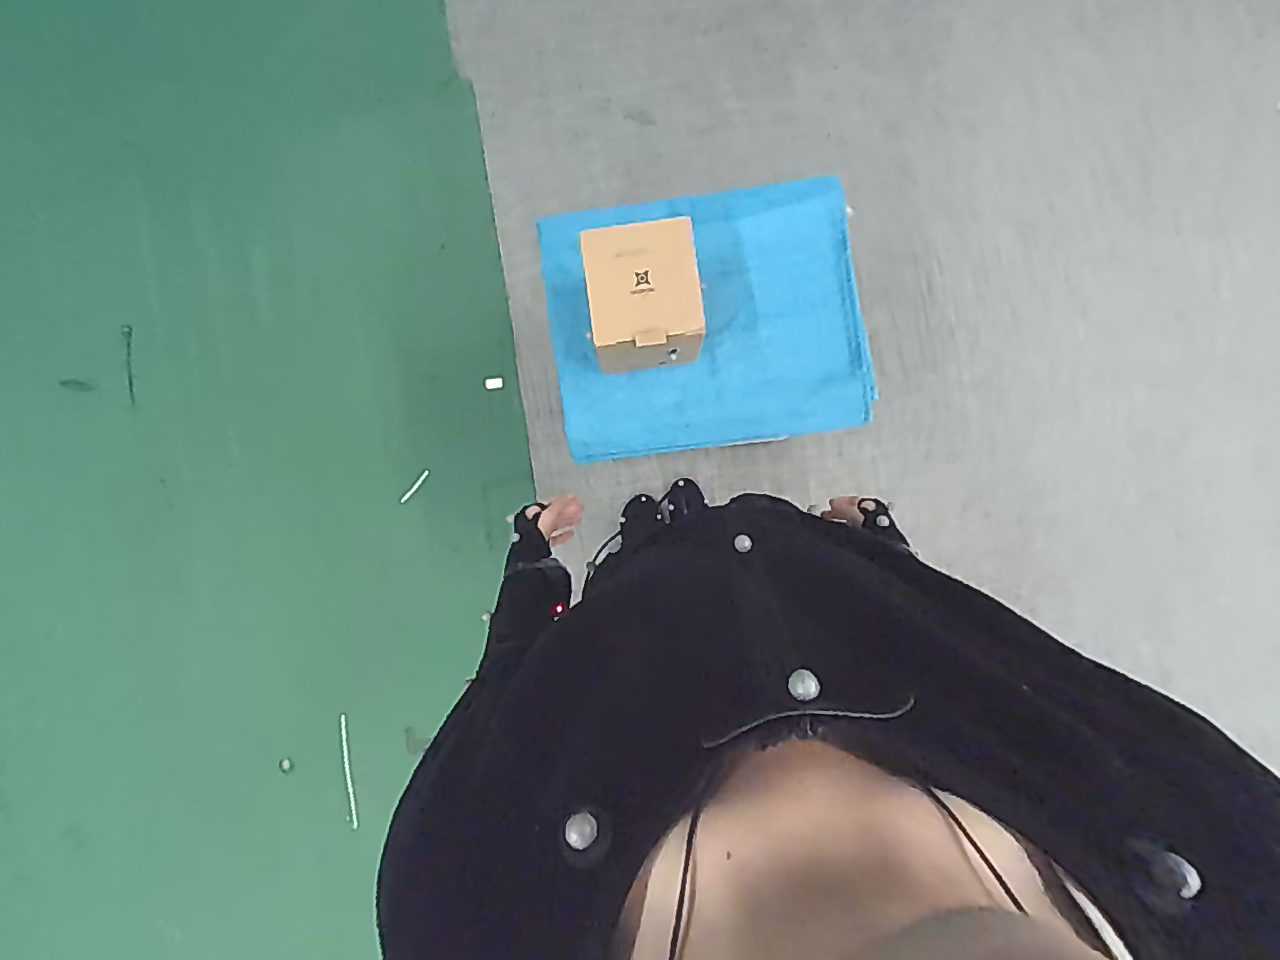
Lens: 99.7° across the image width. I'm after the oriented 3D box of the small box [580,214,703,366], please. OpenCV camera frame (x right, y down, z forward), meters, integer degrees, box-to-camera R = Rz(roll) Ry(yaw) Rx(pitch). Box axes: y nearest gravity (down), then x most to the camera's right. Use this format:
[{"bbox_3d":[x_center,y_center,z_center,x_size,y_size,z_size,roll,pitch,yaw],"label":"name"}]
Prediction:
[{"bbox_3d":[0.003,-0.285,0.851,0.168,0.176,0.179,-6,87,-1],"label":"small box"}]
